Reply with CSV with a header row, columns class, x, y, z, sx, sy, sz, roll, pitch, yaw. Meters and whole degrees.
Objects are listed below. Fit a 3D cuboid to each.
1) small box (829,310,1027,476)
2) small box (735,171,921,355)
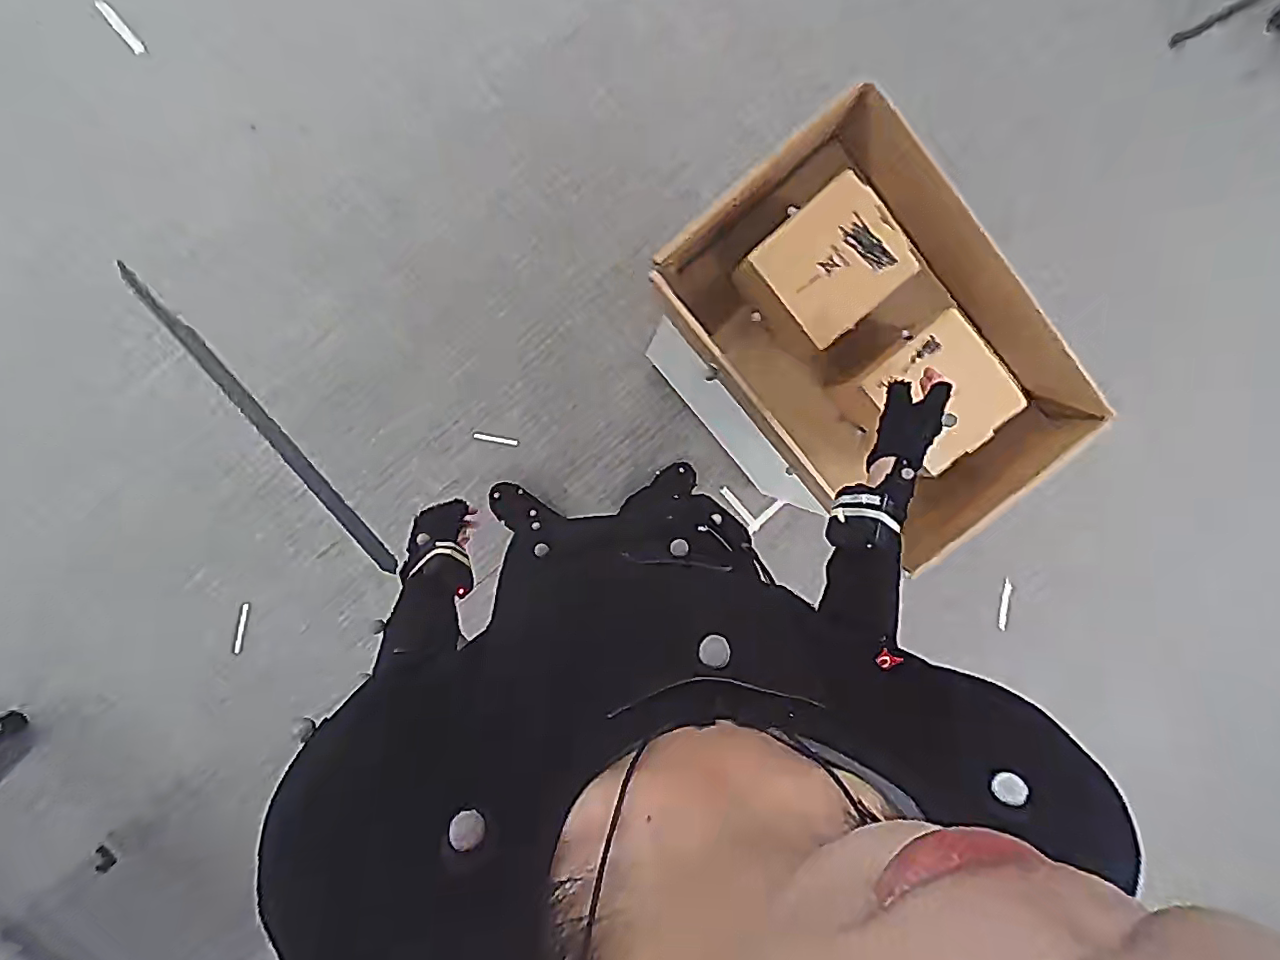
class,x,y,z,sx,sy,sz,roll,pitch,yaw
small box,0.429,-0.131,0.836,0.168,0.176,0.179,-39,95,4
small box,0.266,-0.309,0.811,0.179,0.176,0.168,-40,96,6
